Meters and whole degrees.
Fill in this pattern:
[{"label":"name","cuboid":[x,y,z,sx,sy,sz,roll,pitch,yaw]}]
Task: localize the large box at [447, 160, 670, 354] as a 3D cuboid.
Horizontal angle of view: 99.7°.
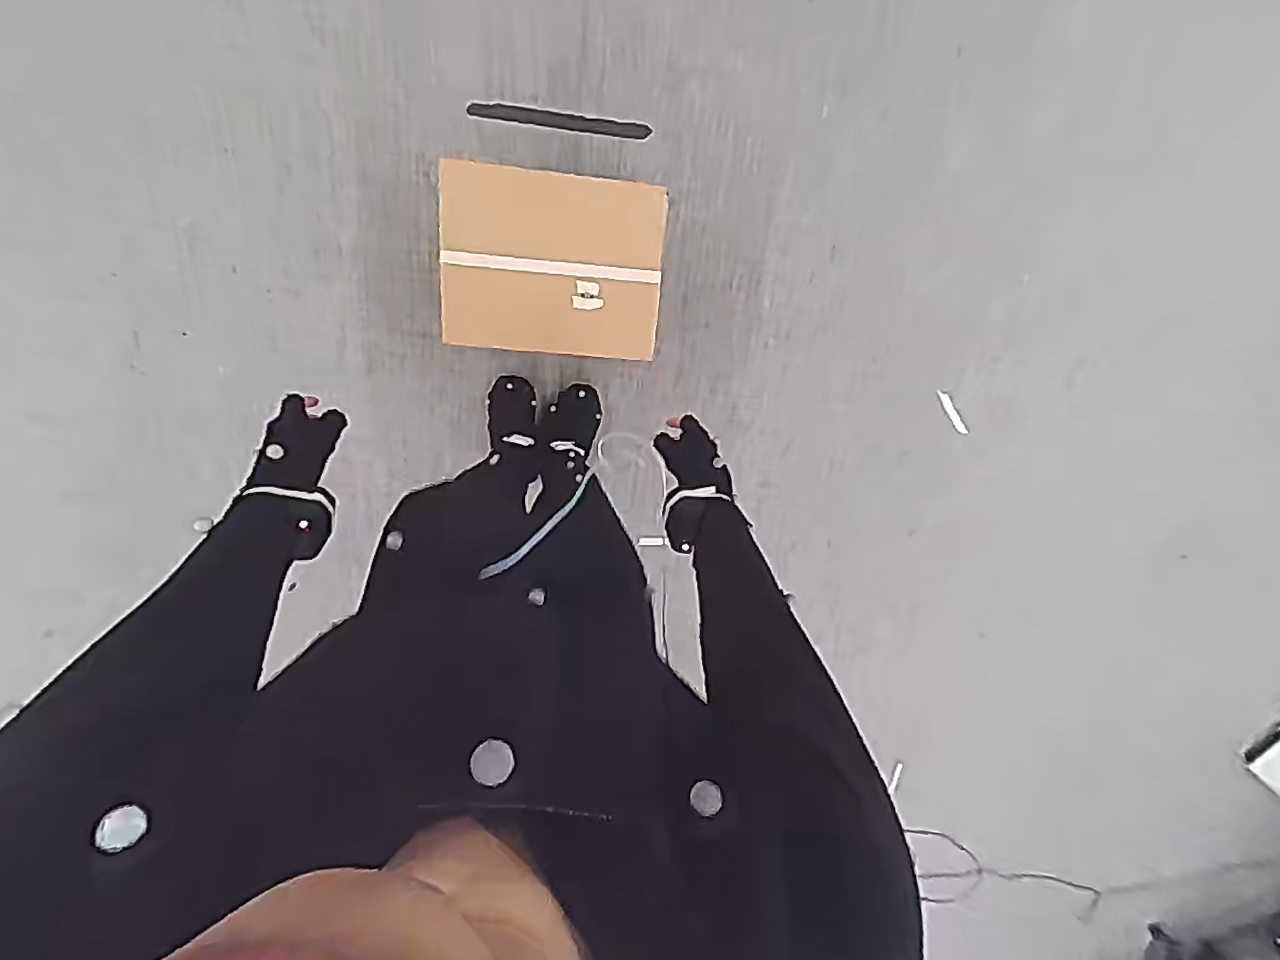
[{"label":"large box","cuboid":[-0.171,-0.450,1.151,0.408,0.320,0.320,3,109,-8]}]
